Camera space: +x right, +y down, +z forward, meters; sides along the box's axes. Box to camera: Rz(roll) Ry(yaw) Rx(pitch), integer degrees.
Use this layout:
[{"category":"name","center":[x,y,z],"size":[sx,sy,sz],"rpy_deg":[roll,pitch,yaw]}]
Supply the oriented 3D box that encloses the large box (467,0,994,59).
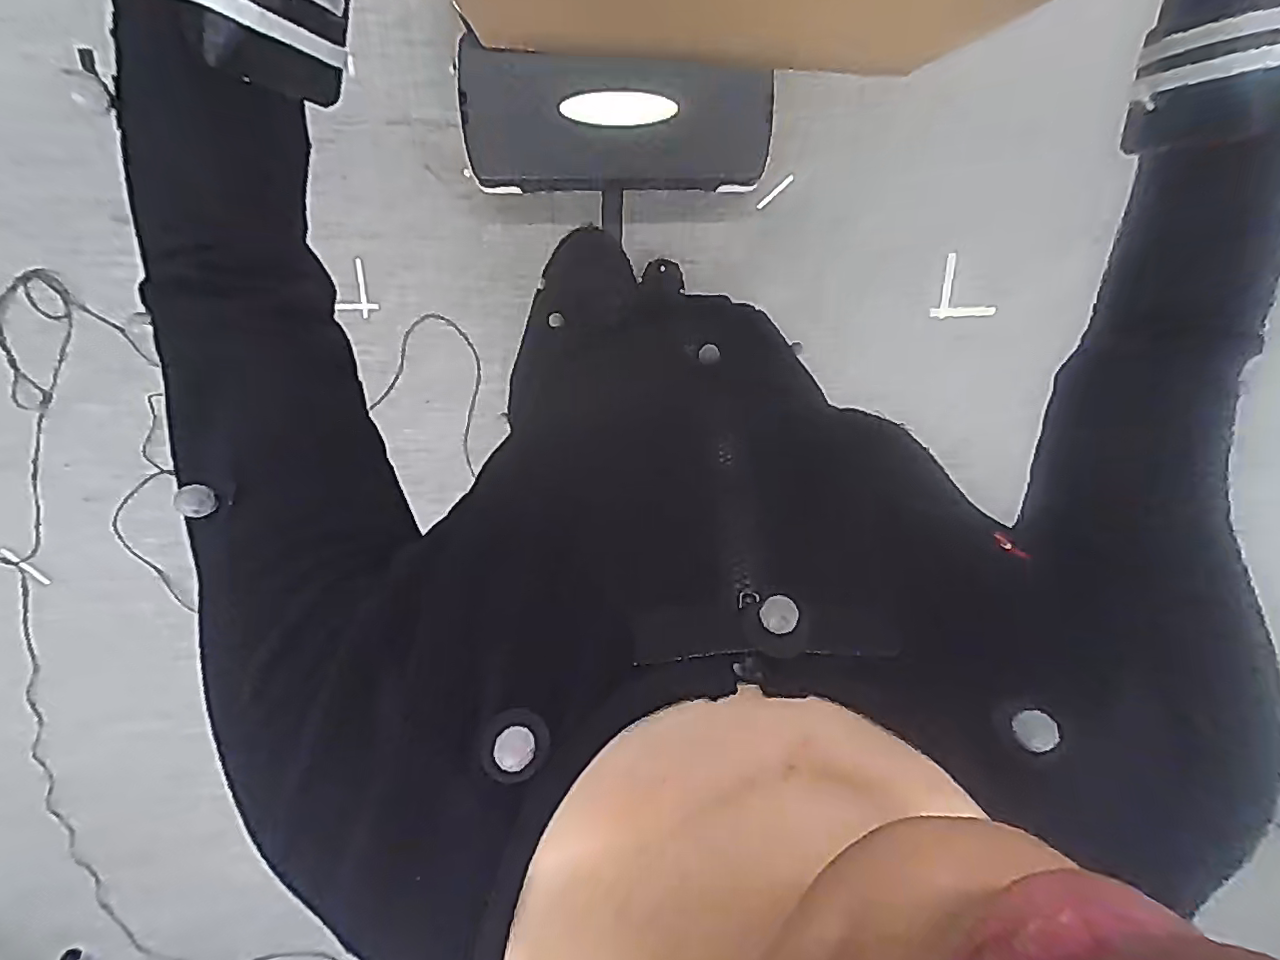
[{"category":"large box","center":[0.068,-0.481,0.313],"size":[0.408,0.320,0.320],"rpy_deg":[0,115,-5]}]
